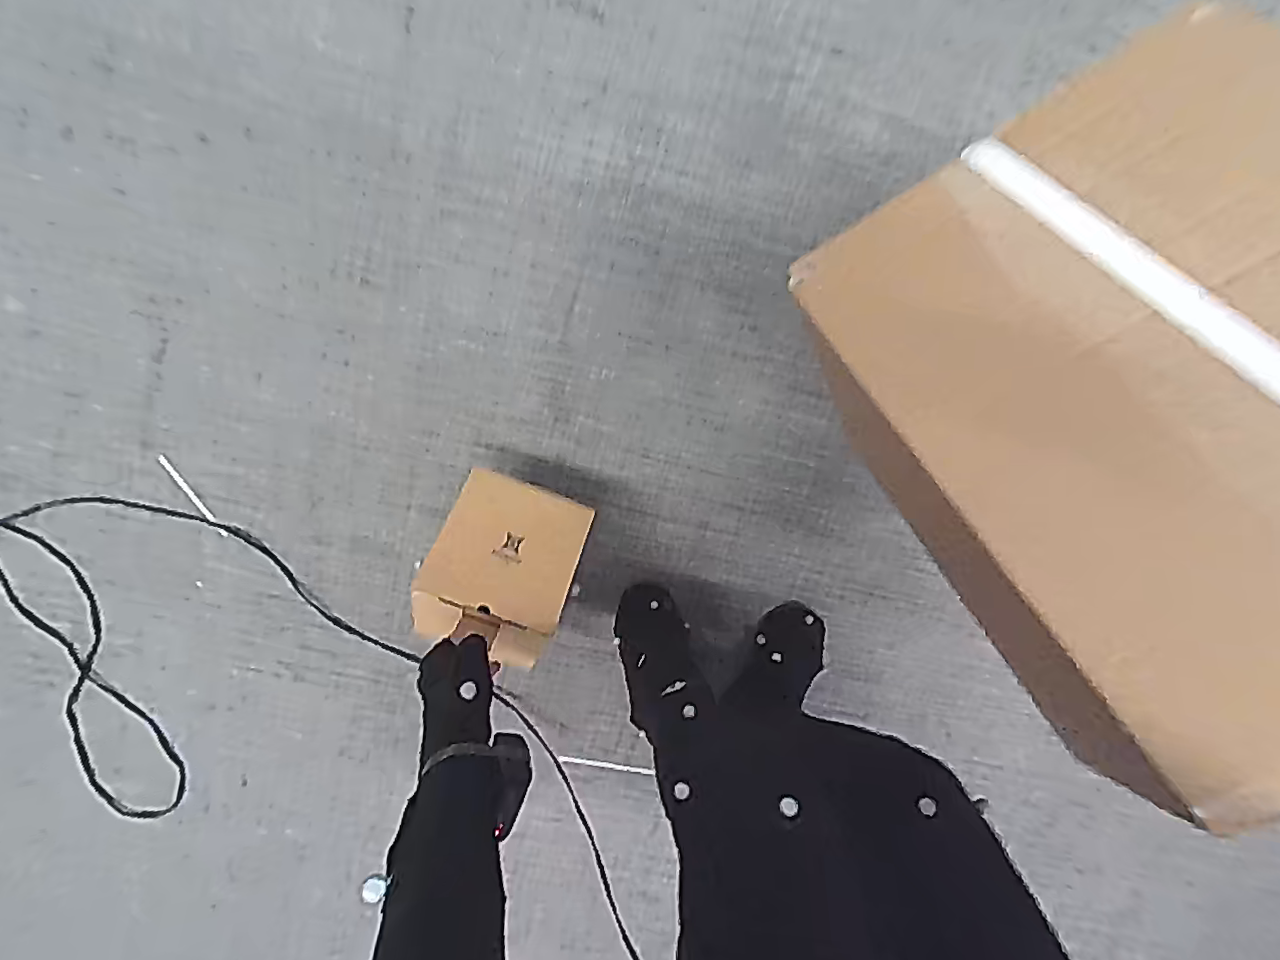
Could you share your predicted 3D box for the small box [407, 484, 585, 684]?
[{"bbox_3d":[-0.190,0.142,0.711,0.168,0.179,0.176,21,142,-8],"label":"small box"}]
